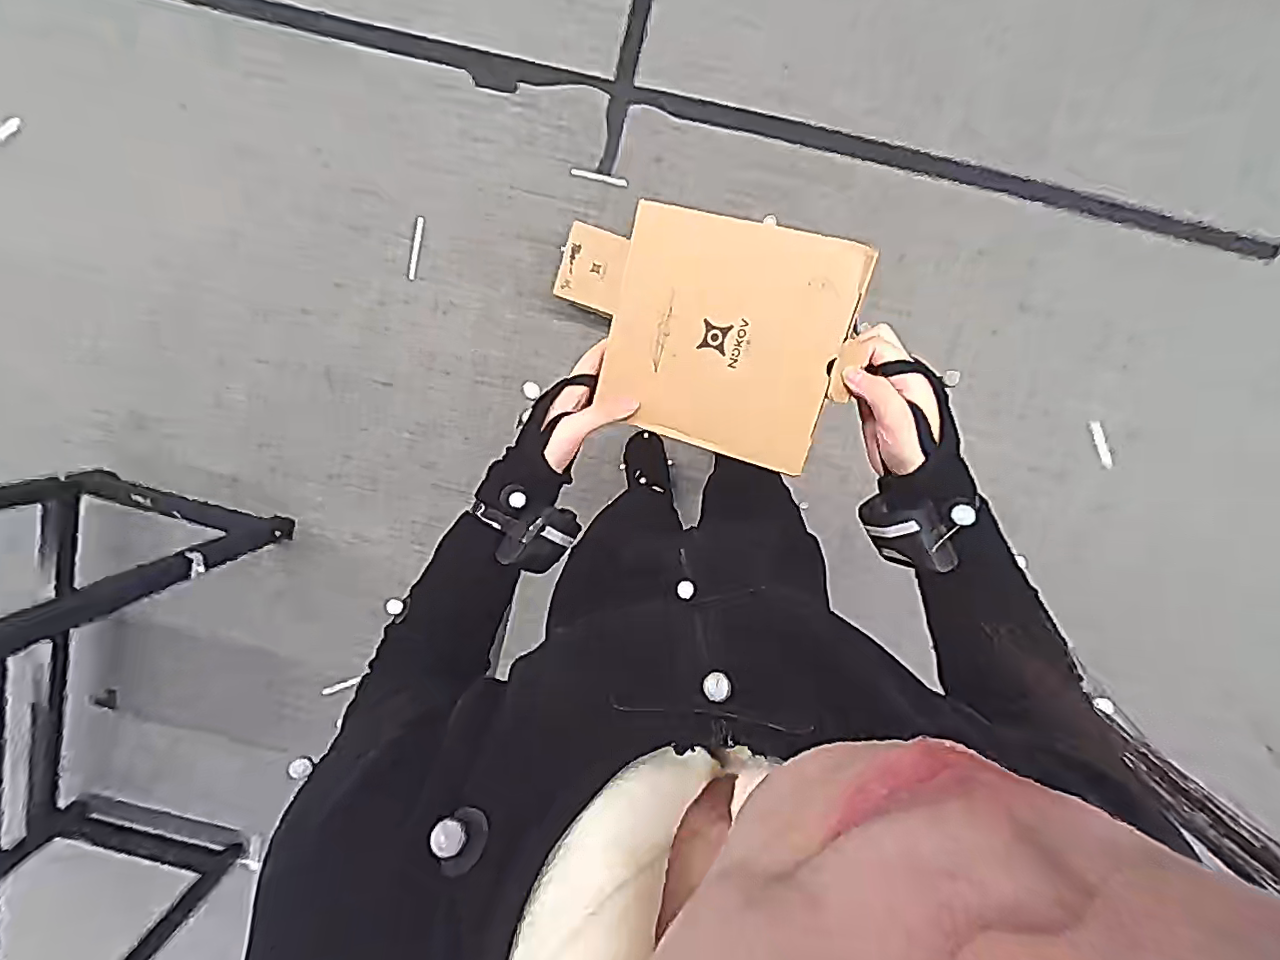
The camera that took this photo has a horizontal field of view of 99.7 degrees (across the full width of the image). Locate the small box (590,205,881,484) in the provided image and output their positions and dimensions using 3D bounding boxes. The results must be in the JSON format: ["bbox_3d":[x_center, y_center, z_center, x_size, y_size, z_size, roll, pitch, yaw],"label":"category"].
[{"bbox_3d":[0.083,-0.113,0.464,0.179,0.176,0.168,18,106,15],"label":"small box"}]

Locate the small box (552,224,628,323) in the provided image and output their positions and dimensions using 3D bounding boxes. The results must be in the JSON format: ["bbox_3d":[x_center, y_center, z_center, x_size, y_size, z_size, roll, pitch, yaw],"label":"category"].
[{"bbox_3d":[-0.088,-0.472,1.274,0.179,0.176,0.168,20,101,-3],"label":"small box"}]
